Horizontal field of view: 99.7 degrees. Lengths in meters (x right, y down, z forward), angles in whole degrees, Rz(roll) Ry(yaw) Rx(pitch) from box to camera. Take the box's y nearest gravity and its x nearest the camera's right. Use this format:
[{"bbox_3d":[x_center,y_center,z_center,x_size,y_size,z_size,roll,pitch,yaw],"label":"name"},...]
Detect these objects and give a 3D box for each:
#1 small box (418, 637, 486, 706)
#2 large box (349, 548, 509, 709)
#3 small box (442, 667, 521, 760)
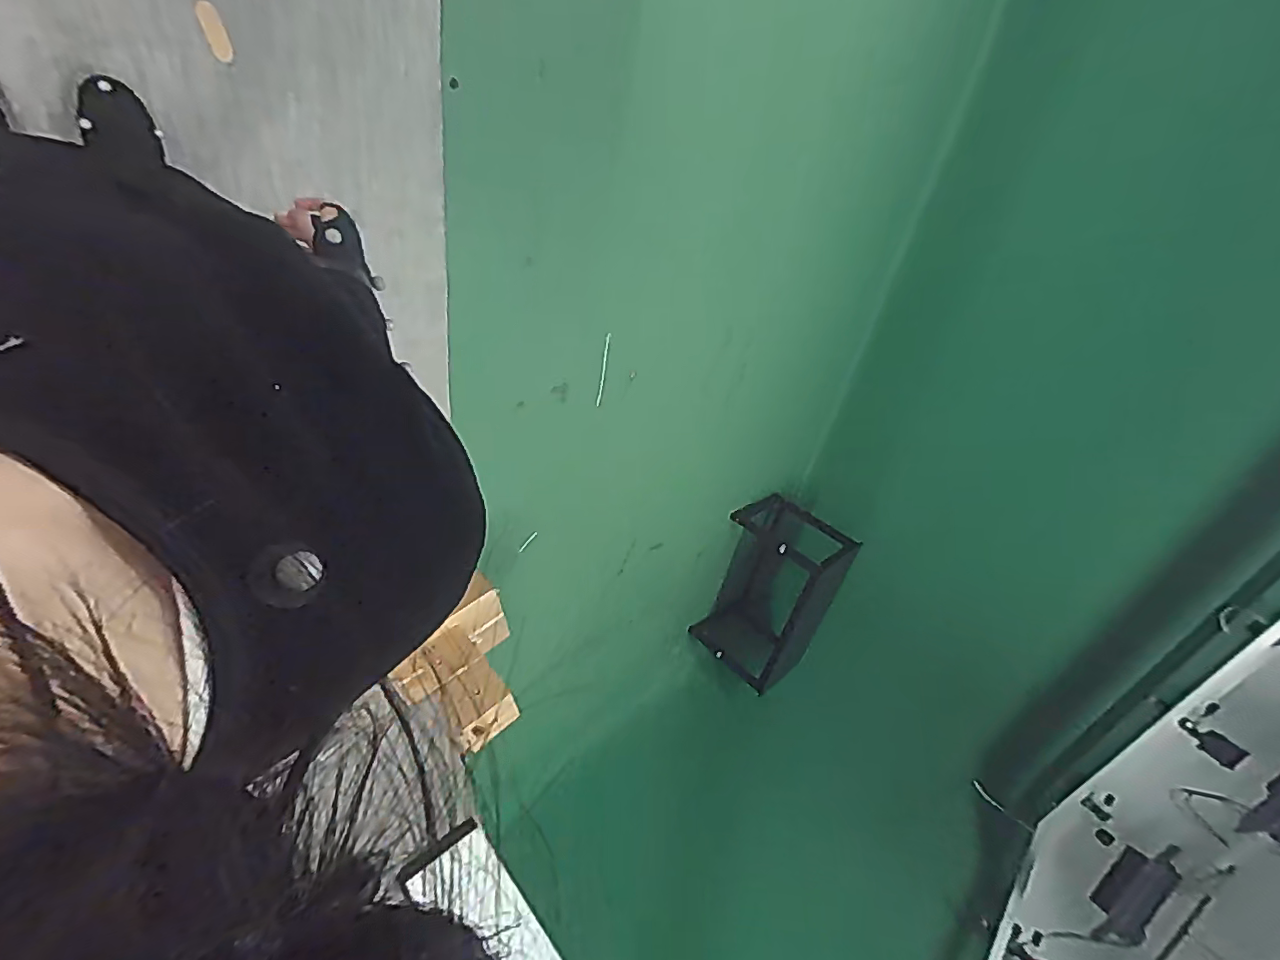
[{"bbox_3d":[-0.619,0.657,1.812,0.168,0.176,0.179,-32,140,-30],"label":"small box"},{"bbox_3d":[-0.756,0.531,1.976,0.408,0.320,0.320,-34,142,-31],"label":"large box"},{"bbox_3d":[-0.508,0.739,1.722,0.179,0.176,0.168,-34,141,-29],"label":"small box"}]
